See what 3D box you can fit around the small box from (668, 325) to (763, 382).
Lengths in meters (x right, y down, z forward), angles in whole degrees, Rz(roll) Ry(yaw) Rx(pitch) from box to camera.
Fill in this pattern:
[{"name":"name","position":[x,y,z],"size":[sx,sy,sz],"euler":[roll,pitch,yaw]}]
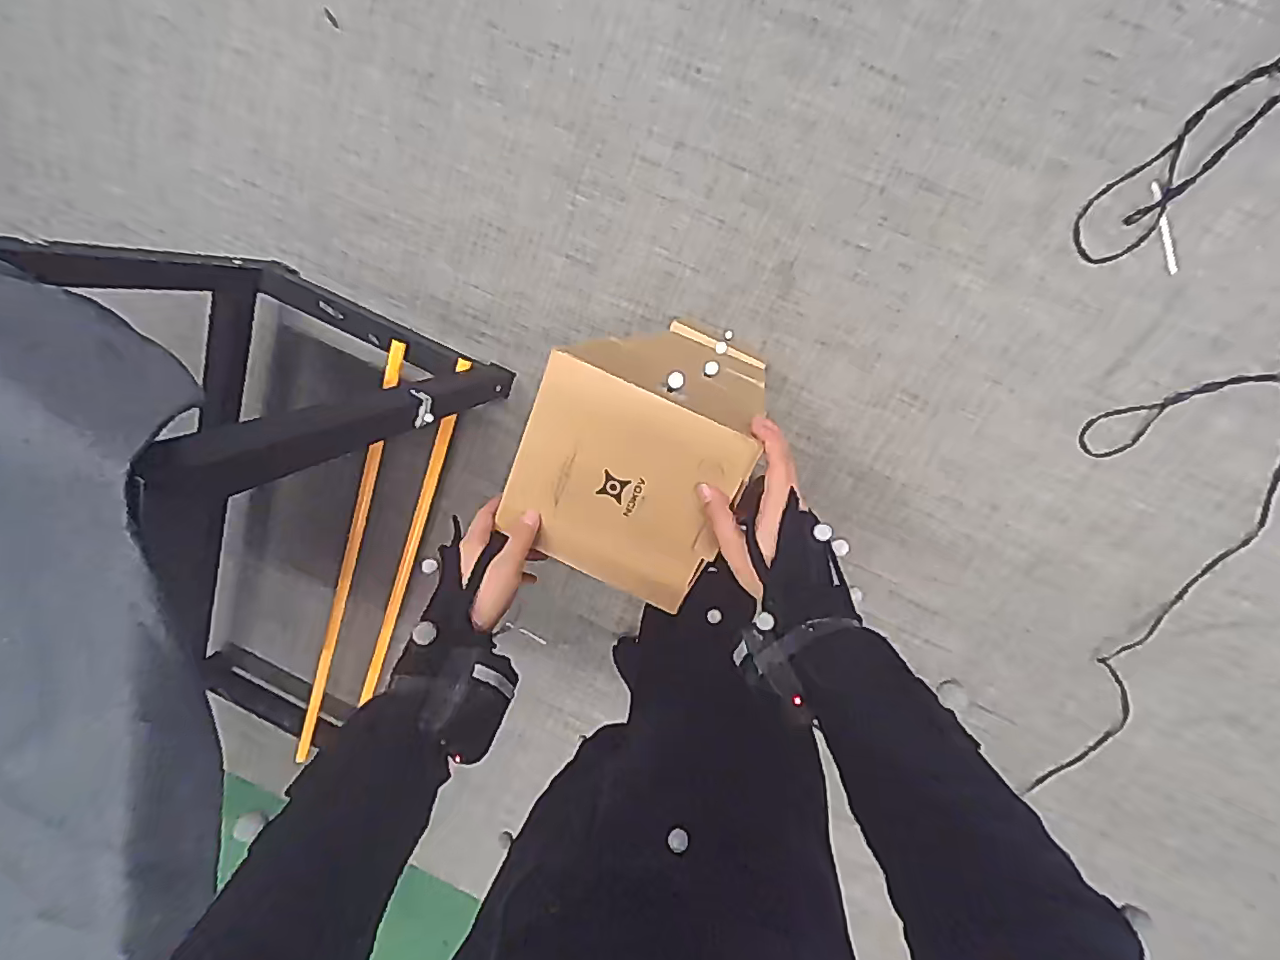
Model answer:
[{"name":"small box","position":[0.104,-0.161,0.963],"size":[0.168,0.176,0.179],"euler":[27,110,4]}]

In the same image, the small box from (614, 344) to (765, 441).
[{"name":"small box","position":[0.035,-0.059,0.660],"size":[0.179,0.176,0.168],"euler":[25,109,2]}]

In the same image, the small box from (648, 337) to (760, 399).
[{"name":"small box","position":[0.071,-0.101,0.814],"size":[0.168,0.176,0.179],"euler":[24,110,4]}]

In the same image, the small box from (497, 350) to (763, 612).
[{"name":"small box","position":[0.000,-0.015,0.508],"size":[0.179,0.176,0.168],"euler":[25,109,4]}]
